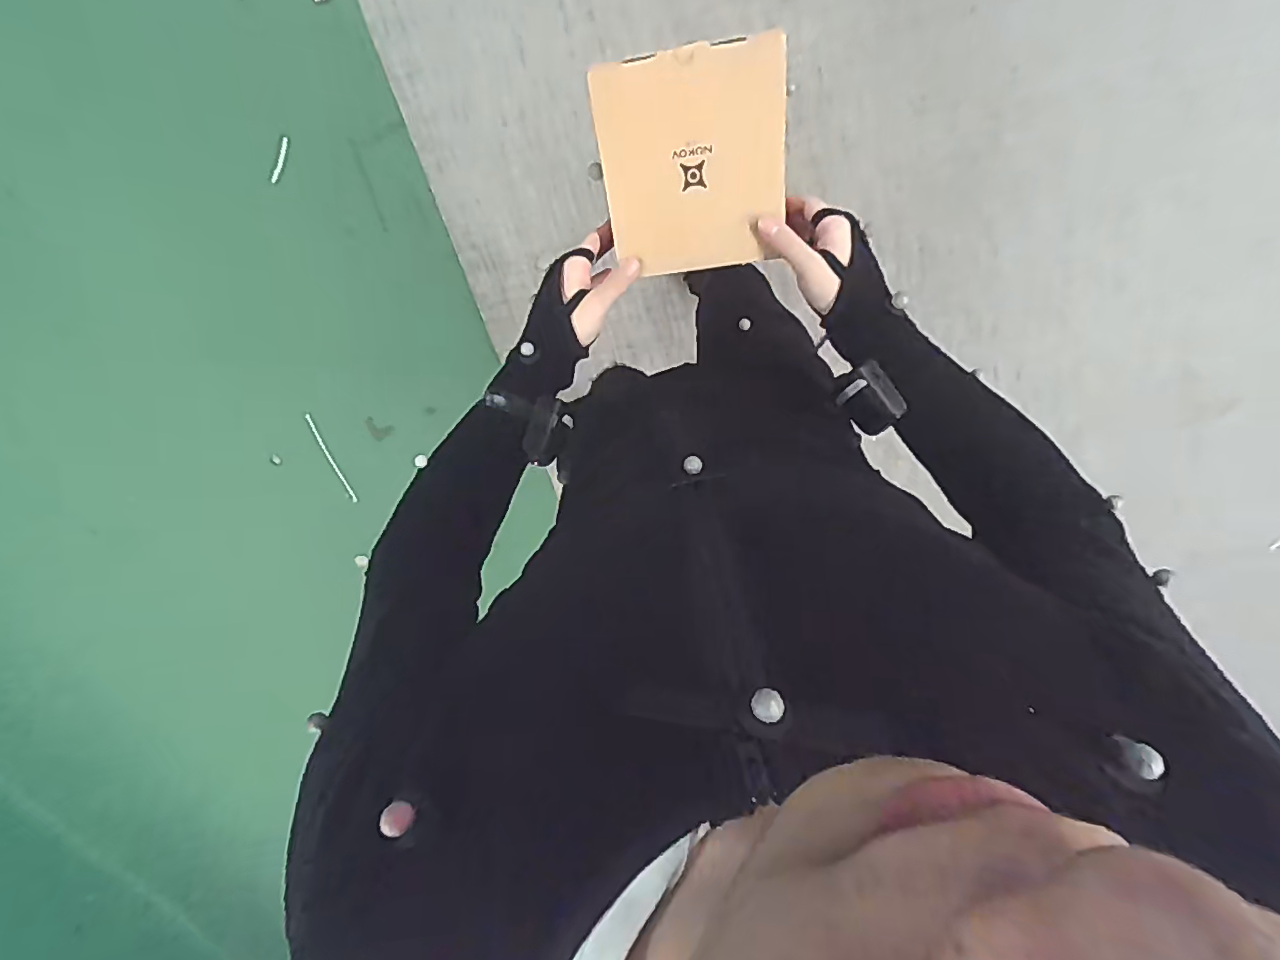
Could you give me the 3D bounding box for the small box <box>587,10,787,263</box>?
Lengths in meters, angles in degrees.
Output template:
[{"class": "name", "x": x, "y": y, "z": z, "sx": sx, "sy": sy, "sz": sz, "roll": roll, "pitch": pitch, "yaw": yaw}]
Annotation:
[{"class": "small box", "x": 0.054, "y": -0.341, "z": 0.550, "sx": 0.168, "sy": 0.176, "sz": 0.179, "roll": -6, "pitch": 124, "yaw": 8}]
